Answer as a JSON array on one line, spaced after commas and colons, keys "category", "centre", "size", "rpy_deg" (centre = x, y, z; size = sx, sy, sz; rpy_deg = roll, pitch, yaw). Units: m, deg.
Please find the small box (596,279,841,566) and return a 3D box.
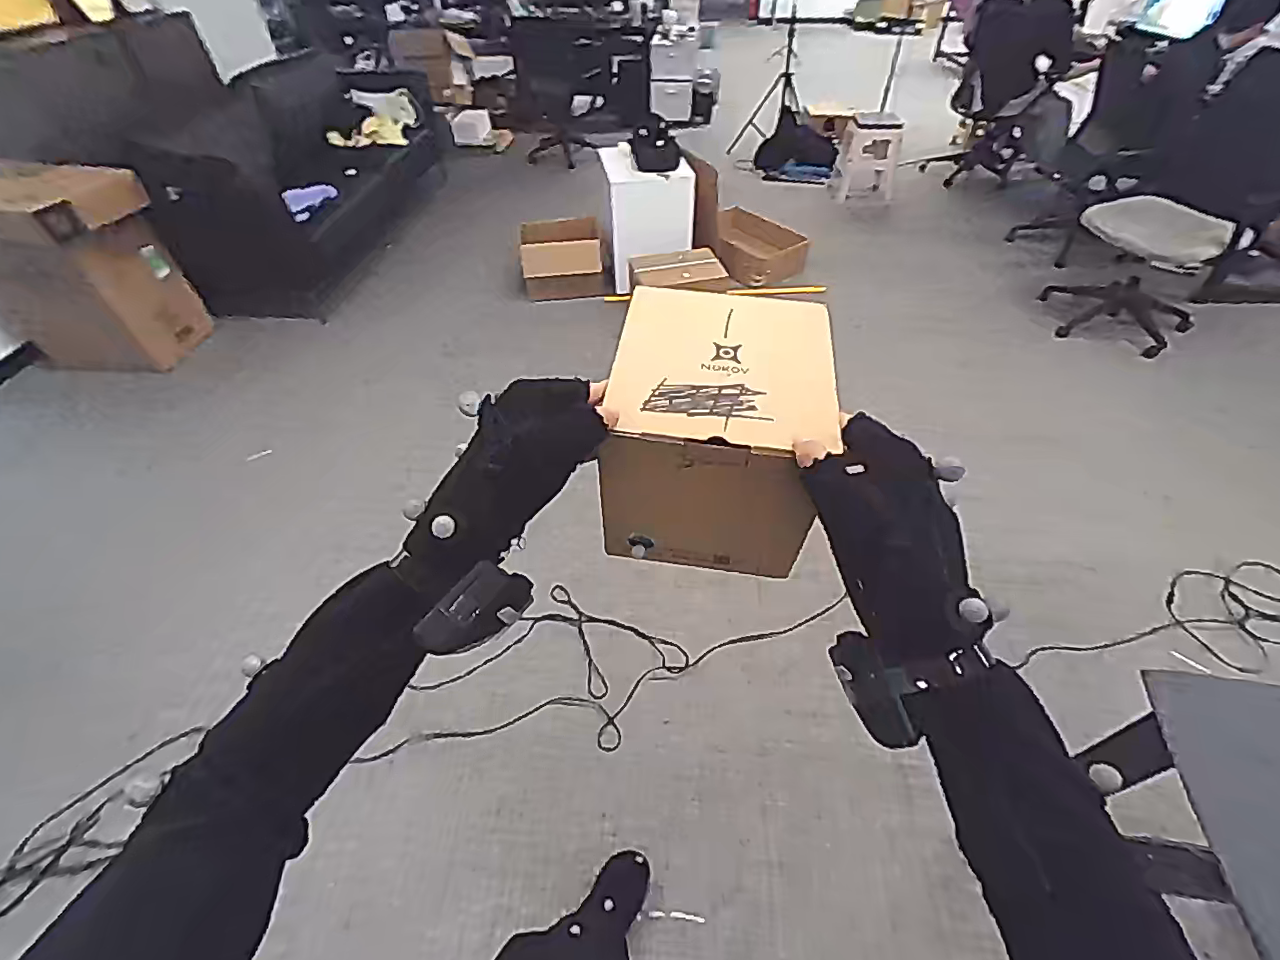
[{"category": "small box", "centre": [0.064, -0.045, 0.468], "size": [0.168, 0.176, 0.179], "rpy_deg": [8, 52, 5]}]
